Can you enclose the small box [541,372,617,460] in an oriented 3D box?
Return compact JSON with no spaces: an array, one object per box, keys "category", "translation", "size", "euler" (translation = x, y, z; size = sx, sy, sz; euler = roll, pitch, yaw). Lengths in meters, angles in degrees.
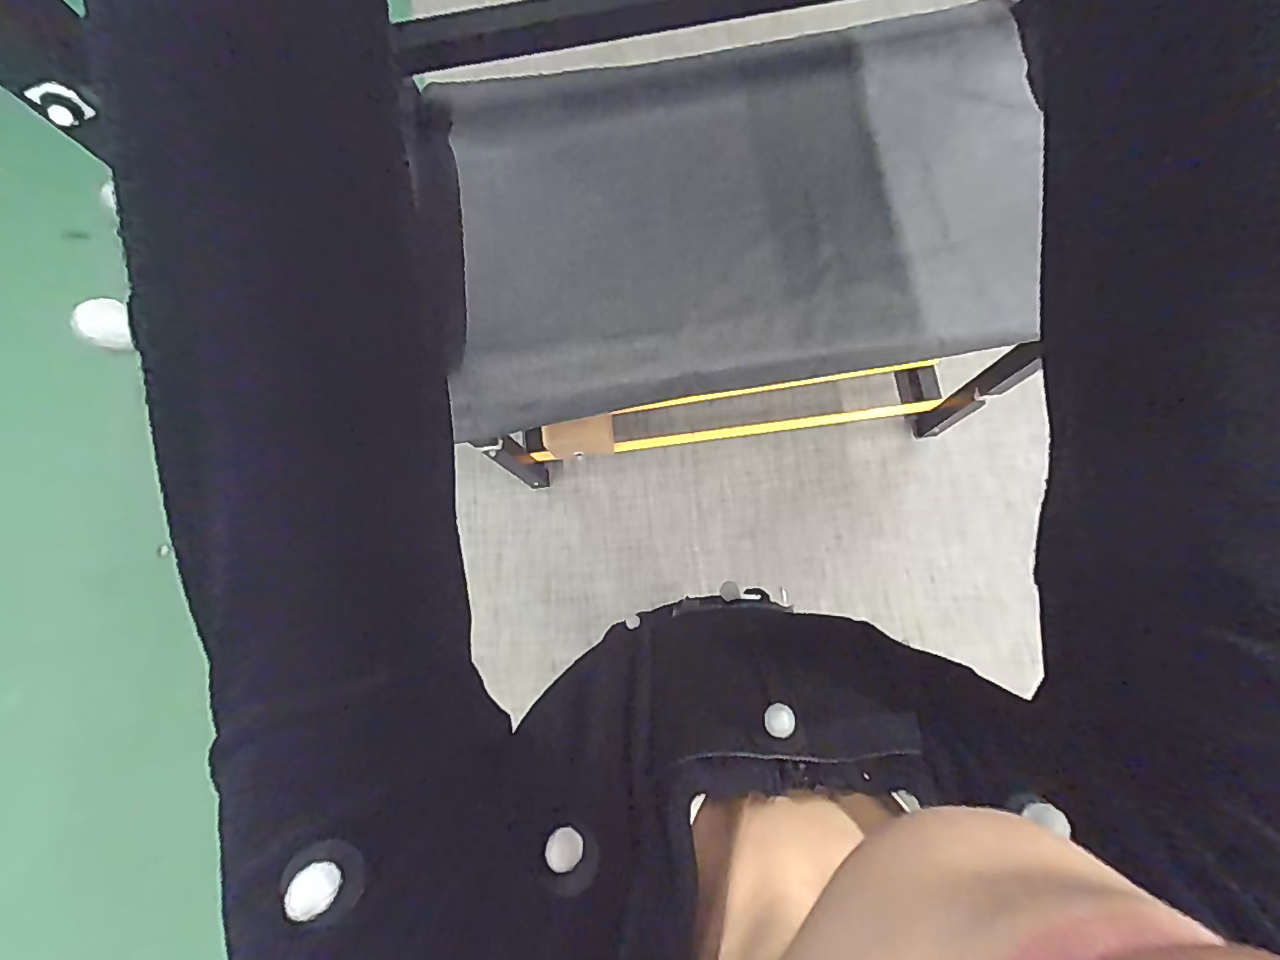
[{"category":"small box","translation":[-0.157,-0.165,1.429],"size":[0.168,0.176,0.179],"euler":[-8,79,3]}]
